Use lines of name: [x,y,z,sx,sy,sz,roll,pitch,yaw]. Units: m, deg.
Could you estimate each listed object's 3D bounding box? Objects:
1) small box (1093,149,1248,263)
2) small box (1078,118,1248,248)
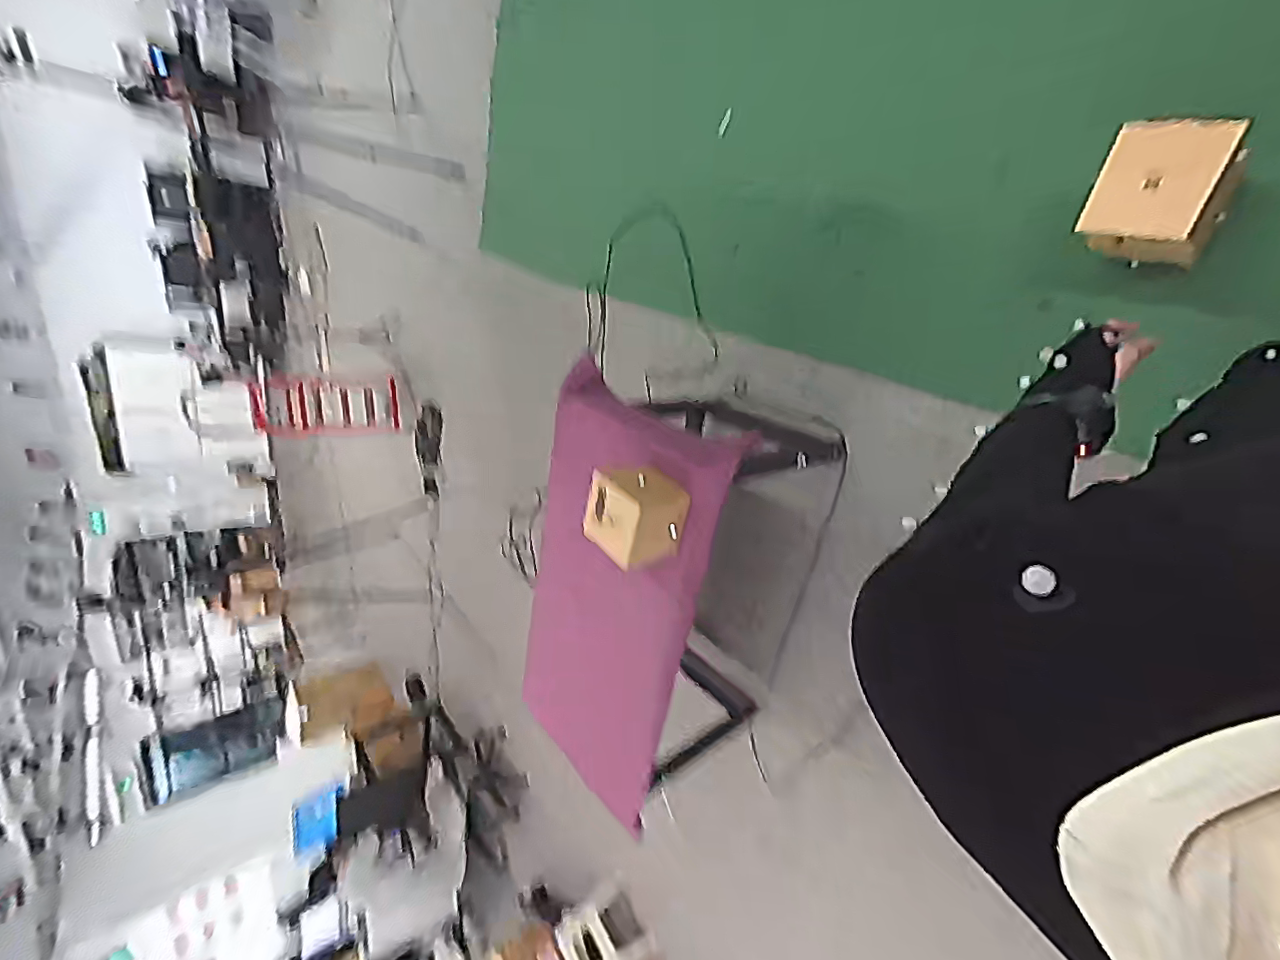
small box: [1.074,-0.558,1.103,0.168,0.176,0.179,33,120,40]
small box: [0.958,-0.537,0.993,0.168,0.176,0.179,33,119,40]
